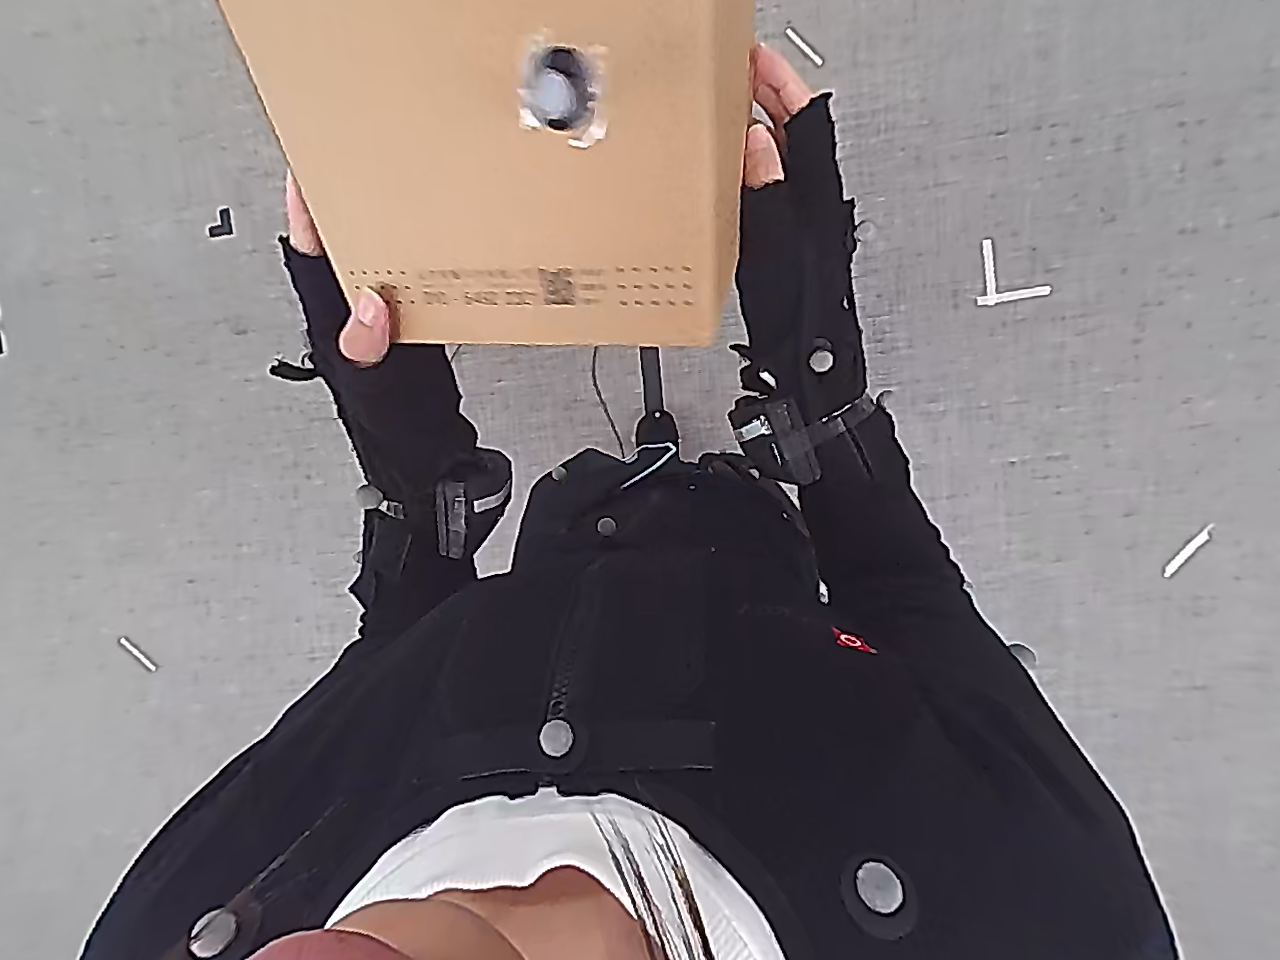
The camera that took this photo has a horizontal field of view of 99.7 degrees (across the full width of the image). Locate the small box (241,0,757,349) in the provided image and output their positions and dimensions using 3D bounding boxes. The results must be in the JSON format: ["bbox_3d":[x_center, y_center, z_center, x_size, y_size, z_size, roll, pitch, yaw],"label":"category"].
[{"bbox_3d":[-0.033,-0.173,0.253,0.168,0.179,0.176,5,131,12],"label":"small box"}]
